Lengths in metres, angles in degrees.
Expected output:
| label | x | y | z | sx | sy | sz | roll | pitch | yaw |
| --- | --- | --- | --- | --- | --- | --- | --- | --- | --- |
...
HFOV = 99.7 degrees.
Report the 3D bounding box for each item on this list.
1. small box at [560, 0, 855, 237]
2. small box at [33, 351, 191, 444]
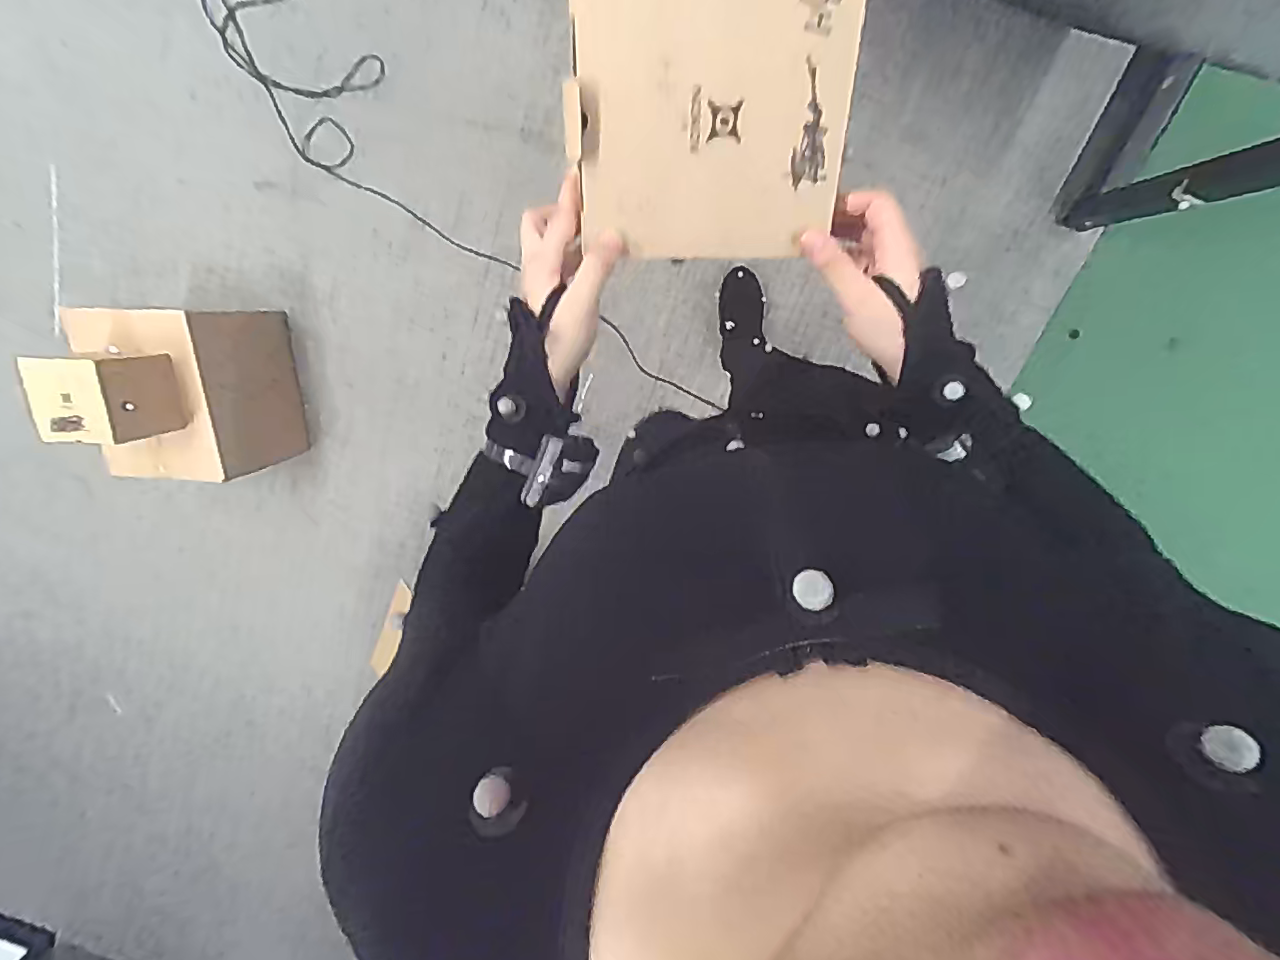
| label | x | y | z | sx | sy | sz | roll | pitch | yaw |
| --- | --- | --- | --- | --- | --- | --- | --- | --- | --- |
| small box | 0.043 | -0.281 | 0.408 | 0.179 | 0.176 | 0.168 | 1 | 120 | 2 |
| small box | -1.142 | -0.186 | 1.188 | 0.168 | 0.176 | 0.179 | 3 | 107 | 4 |
